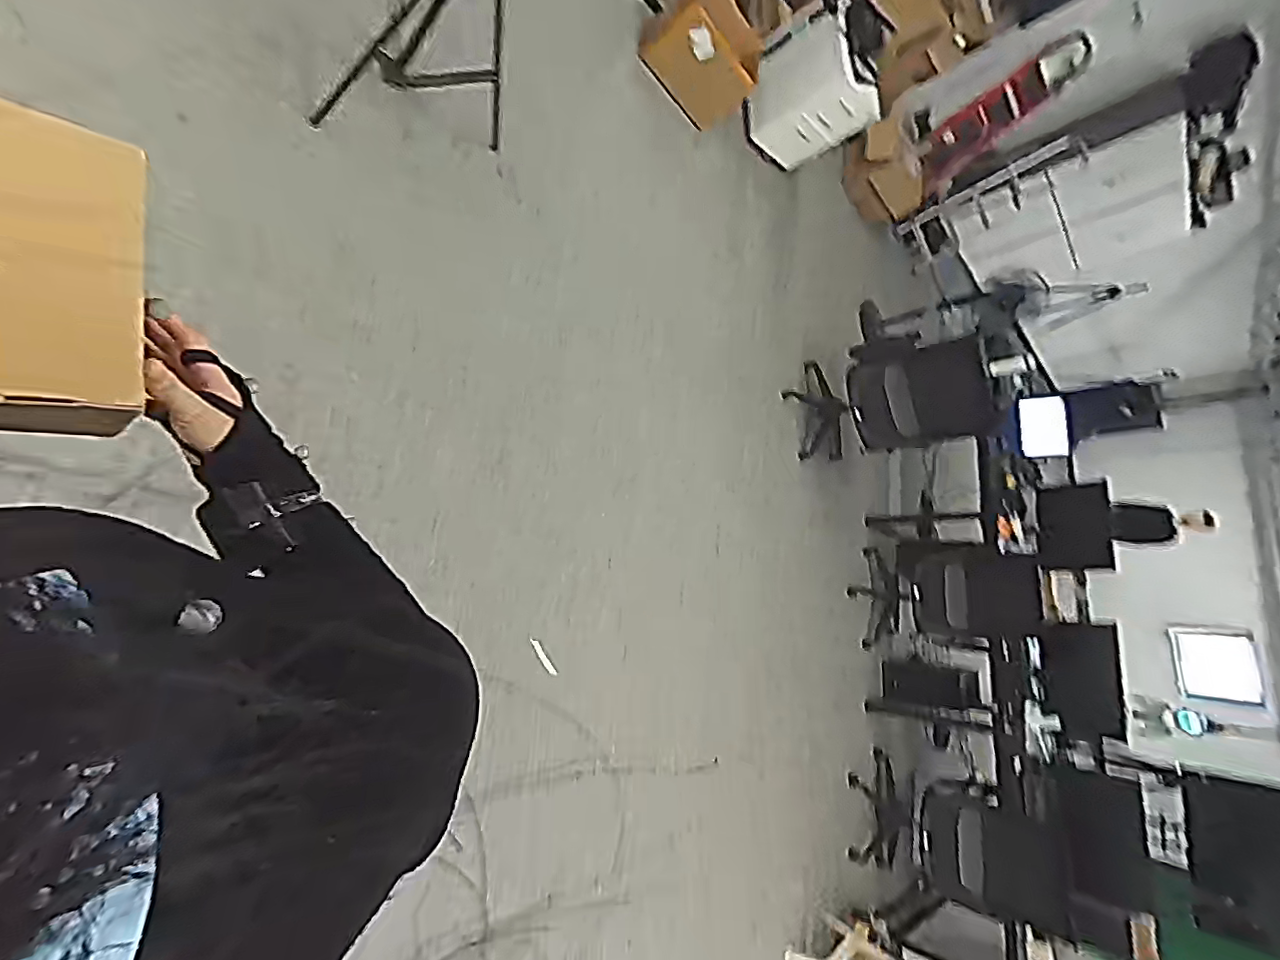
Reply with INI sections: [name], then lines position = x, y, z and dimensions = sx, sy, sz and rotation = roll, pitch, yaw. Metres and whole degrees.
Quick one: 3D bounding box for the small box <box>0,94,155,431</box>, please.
[small box]
position = -0.433, -0.131, 0.344
dimensions = 0.168, 0.176, 0.179
rotation = 0, 88, -49
